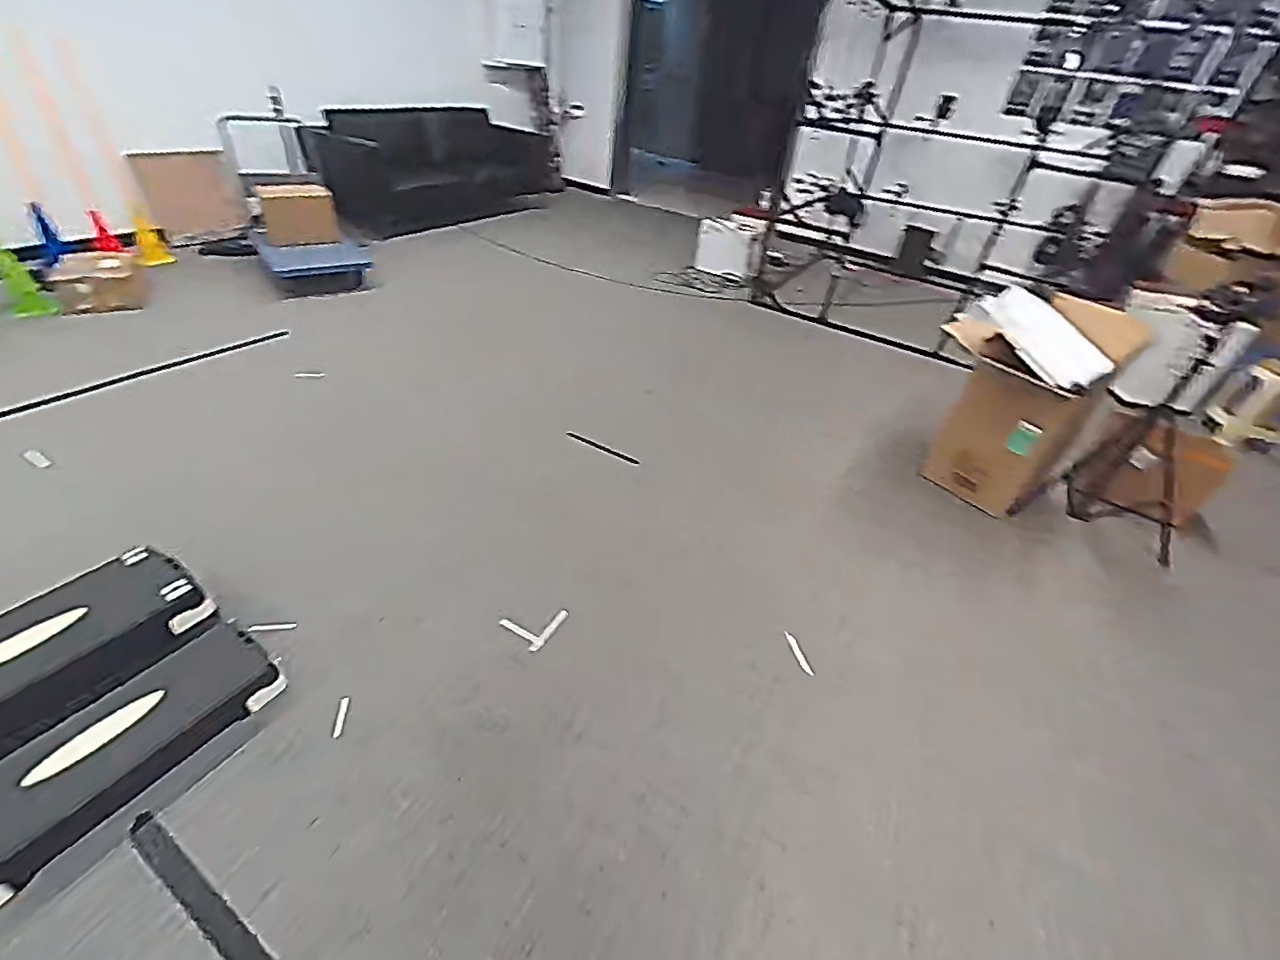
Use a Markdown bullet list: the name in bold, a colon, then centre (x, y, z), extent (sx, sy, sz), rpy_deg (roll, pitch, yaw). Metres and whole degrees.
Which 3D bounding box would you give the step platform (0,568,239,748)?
- **step platform**: centre (-1.426, 0.501, 1.323), extent (0.286, 0.204, 0.684), rpy_deg (27, 39, 25)
